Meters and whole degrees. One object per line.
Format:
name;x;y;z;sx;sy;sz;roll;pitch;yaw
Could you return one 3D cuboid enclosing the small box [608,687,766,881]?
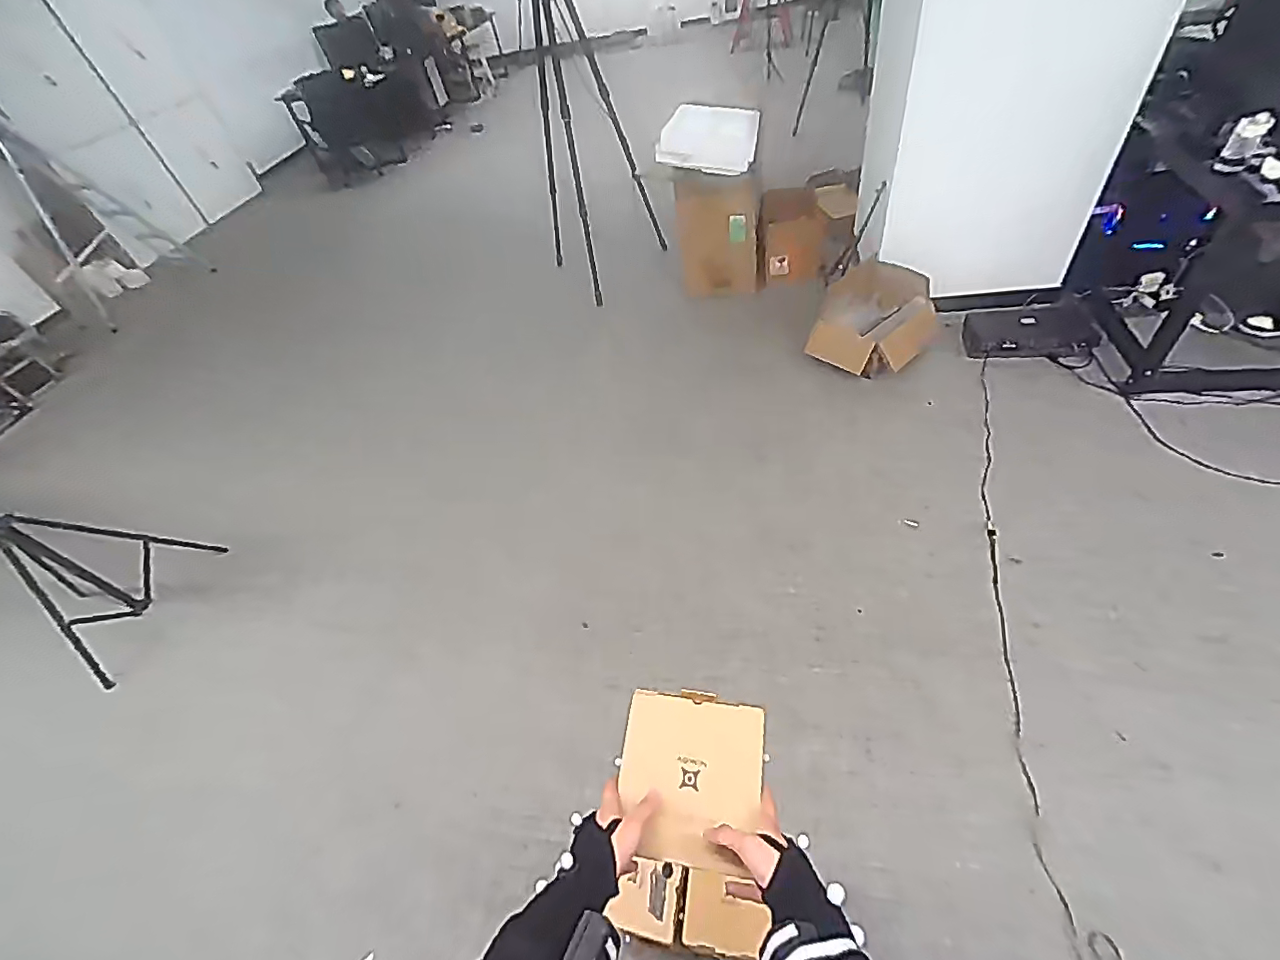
small box;0.064;0.388;0.692;0.168;0.176;0.179;6;56;10
